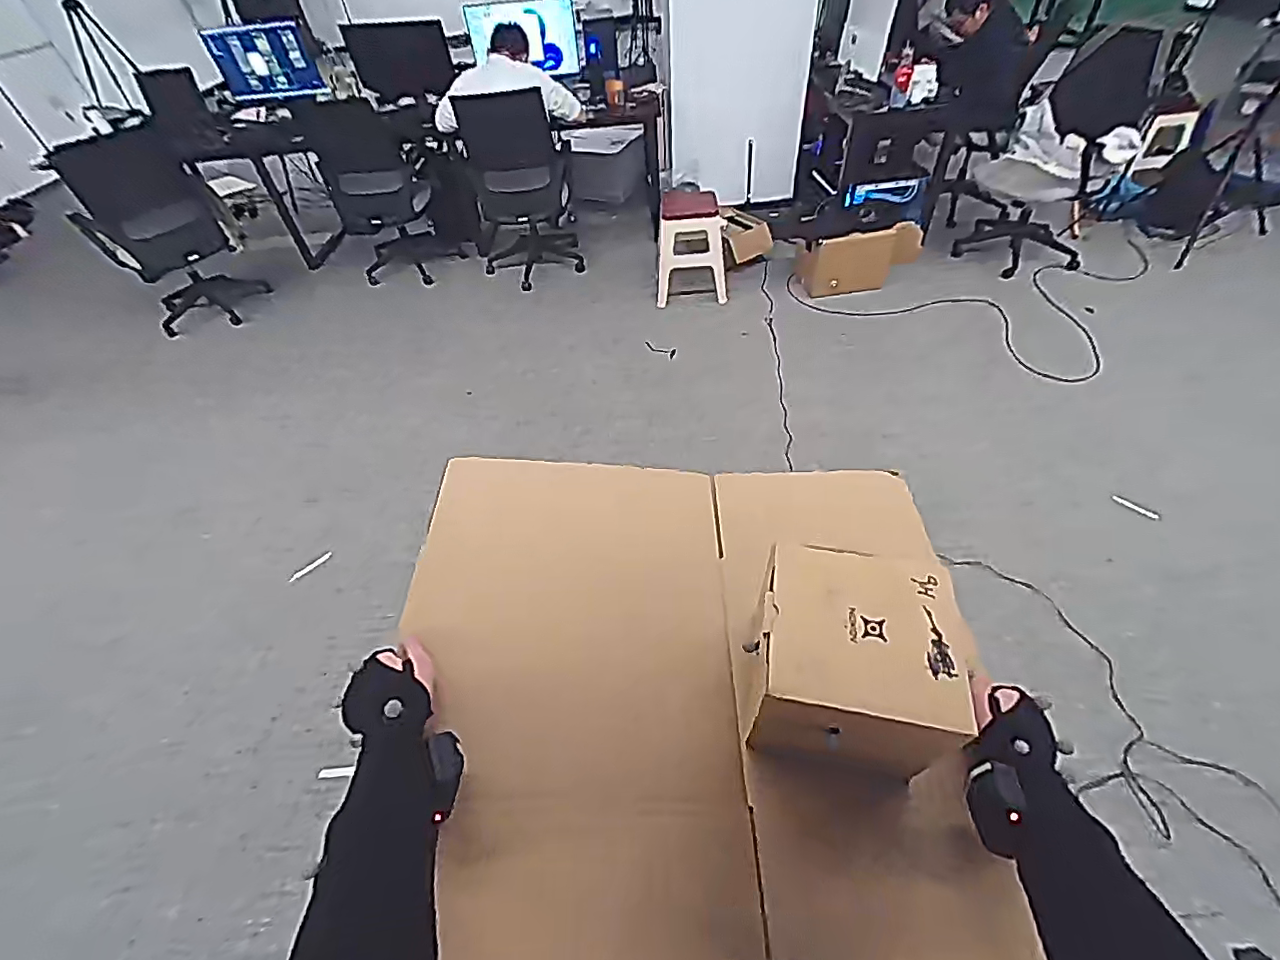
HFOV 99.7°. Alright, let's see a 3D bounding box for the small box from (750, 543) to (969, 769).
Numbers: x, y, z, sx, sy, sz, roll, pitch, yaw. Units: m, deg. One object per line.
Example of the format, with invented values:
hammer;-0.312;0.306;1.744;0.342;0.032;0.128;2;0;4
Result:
small box;0.216;0.191;0.580;0.179;0.176;0.168;7;51;10
